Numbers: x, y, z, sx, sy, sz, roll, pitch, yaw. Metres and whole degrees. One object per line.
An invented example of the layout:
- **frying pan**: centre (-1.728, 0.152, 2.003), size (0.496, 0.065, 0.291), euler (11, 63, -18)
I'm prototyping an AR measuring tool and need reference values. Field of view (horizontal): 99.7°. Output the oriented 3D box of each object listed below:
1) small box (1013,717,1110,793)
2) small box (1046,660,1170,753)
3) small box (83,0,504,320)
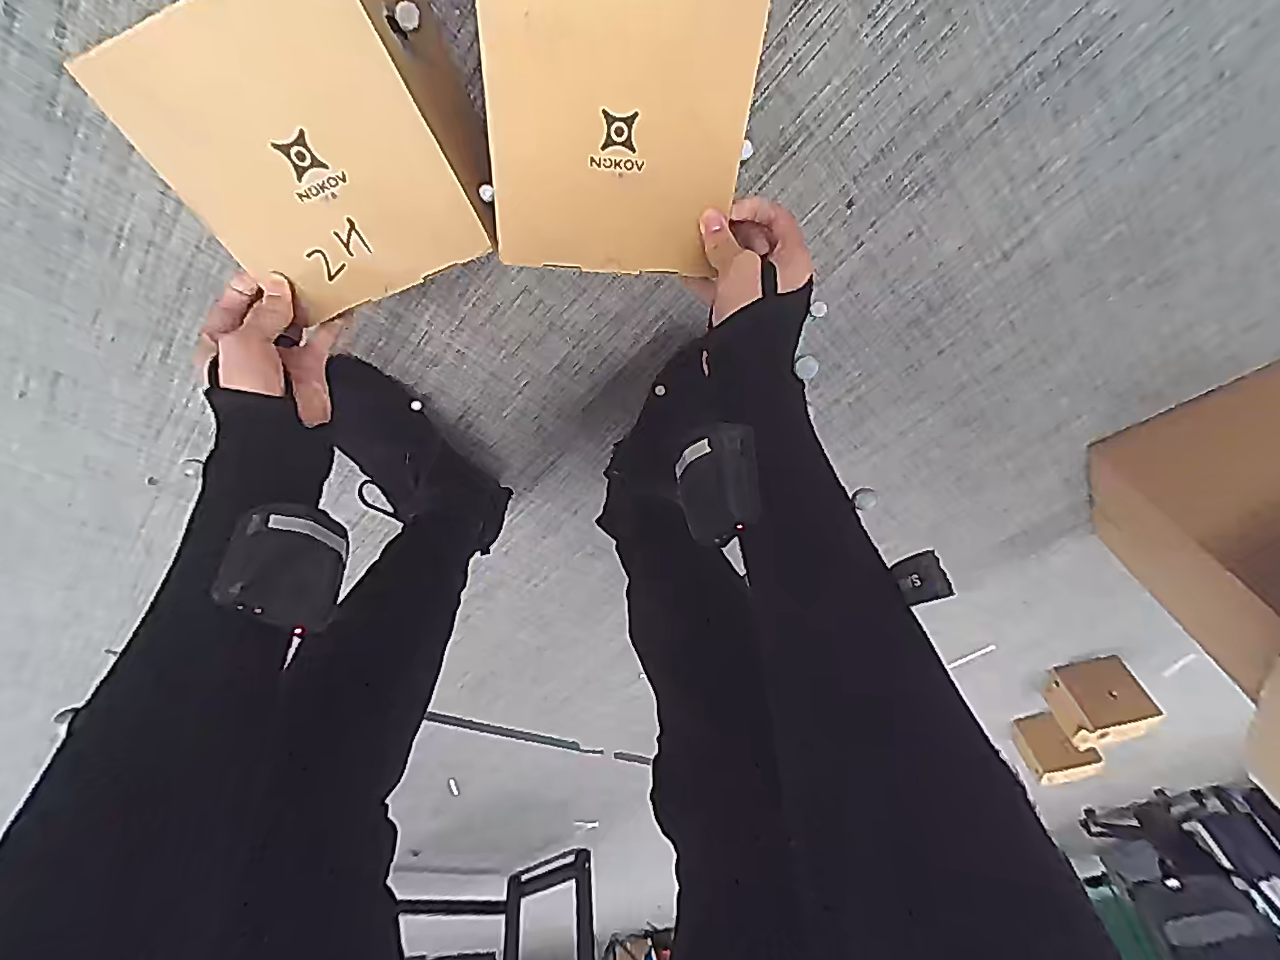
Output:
- **small box**: centre (1.370, 0.893, 1.768), size (0.179, 0.176, 0.168), euler (-21, 133, 10)
- **small box**: centre (1.276, 0.624, 1.493), size (0.179, 0.176, 0.168), euler (-16, 134, 6)
- **small box**: centre (-0.217, -0.257, 0.402), size (0.168, 0.176, 0.179), euler (-18, 134, 9)
